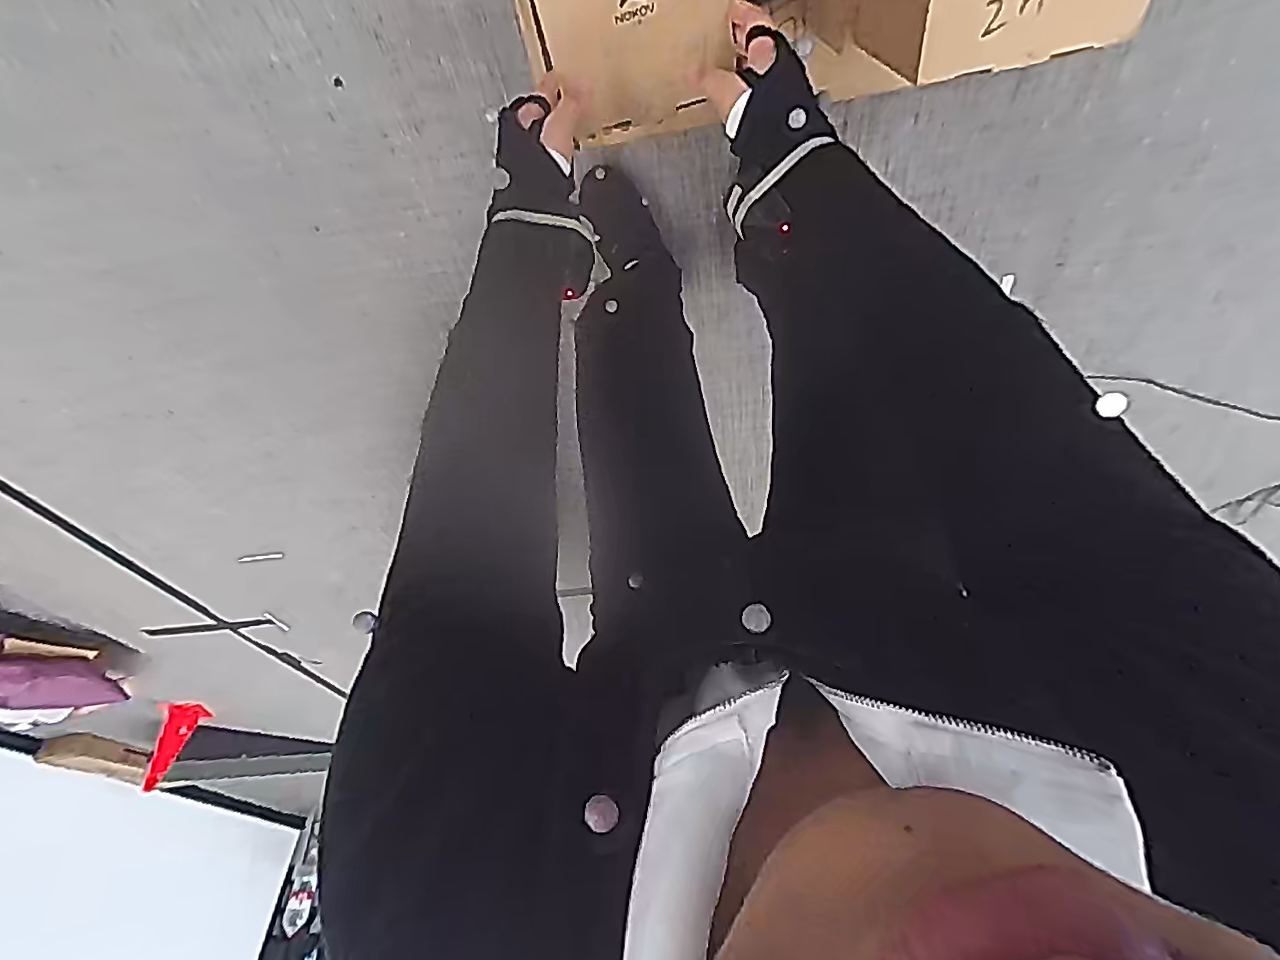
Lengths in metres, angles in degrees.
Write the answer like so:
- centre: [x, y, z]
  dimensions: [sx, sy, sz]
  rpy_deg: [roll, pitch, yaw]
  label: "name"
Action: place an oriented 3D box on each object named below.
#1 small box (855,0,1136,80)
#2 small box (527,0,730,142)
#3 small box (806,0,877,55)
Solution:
- centre: [0.283, -0.454, 0.427]
  dimensions: [0.168, 0.176, 0.179]
  rpy_deg: [-8, 138, 7]
  label: "small box"
- centre: [-0.007, -0.462, 0.523]
  dimensions: [0.168, 0.176, 0.179]
  rpy_deg: [-9, 130, 12]
  label: "small box"
- centre: [0.275, -0.566, 0.550]
  dimensions: [0.168, 0.176, 0.179]
  rpy_deg: [-4, 139, 4]
  label: "small box"
